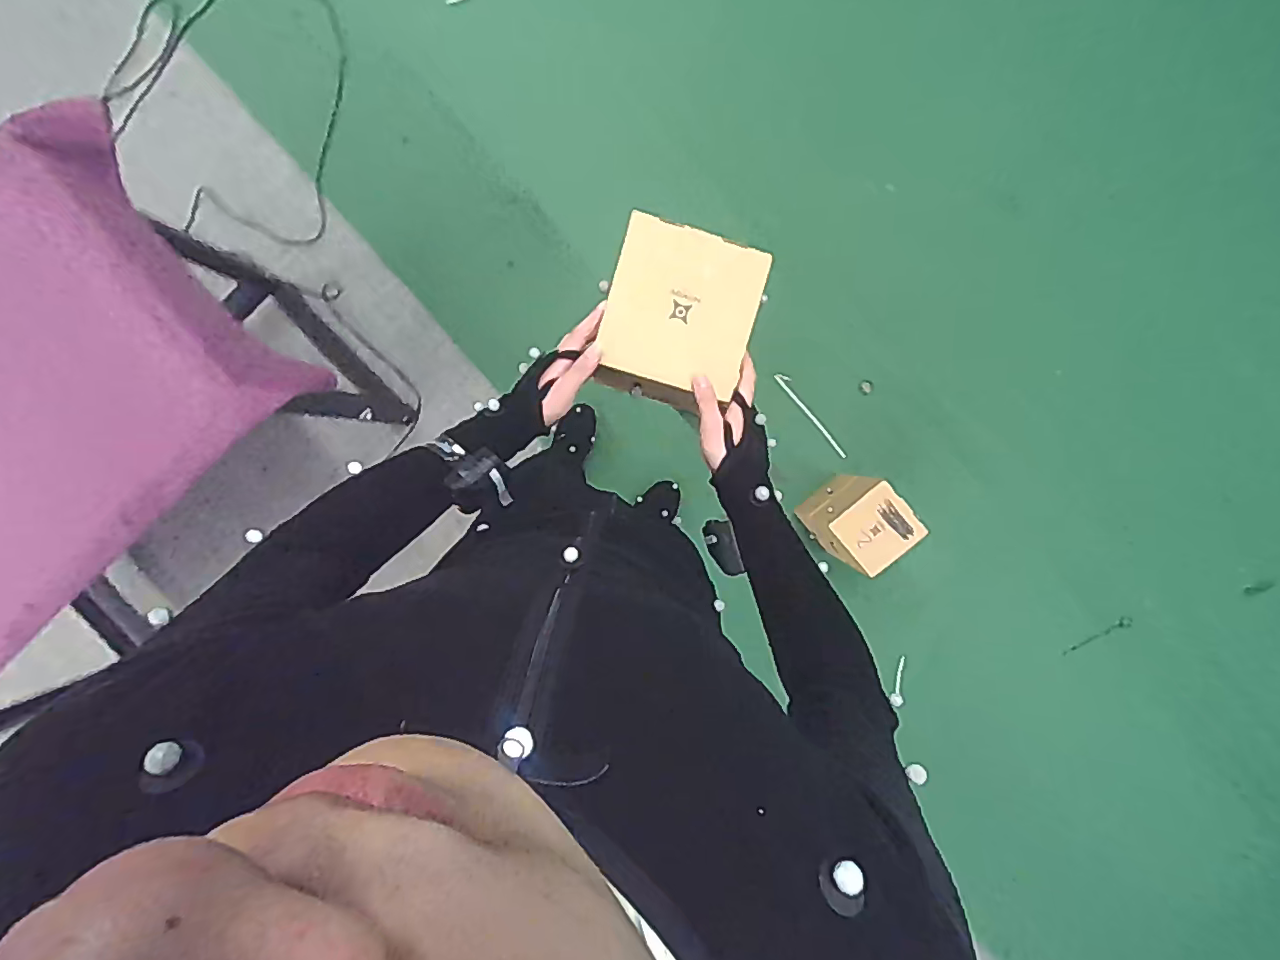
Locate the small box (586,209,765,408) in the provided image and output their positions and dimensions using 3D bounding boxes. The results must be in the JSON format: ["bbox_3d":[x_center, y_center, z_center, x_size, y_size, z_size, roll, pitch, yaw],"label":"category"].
[{"bbox_3d":[0.036,-0.196,0.677,0.168,0.176,0.179,15,91,-4],"label":"small box"}]

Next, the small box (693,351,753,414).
[{"bbox_3d":[0.188,-0.303,1.514,0.179,0.176,0.168,-41,89,4],"label":"small box"}]

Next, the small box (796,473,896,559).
[{"bbox_3d":[0.567,0.093,1.515,0.179,0.176,0.168,-39,90,4],"label":"small box"}]
